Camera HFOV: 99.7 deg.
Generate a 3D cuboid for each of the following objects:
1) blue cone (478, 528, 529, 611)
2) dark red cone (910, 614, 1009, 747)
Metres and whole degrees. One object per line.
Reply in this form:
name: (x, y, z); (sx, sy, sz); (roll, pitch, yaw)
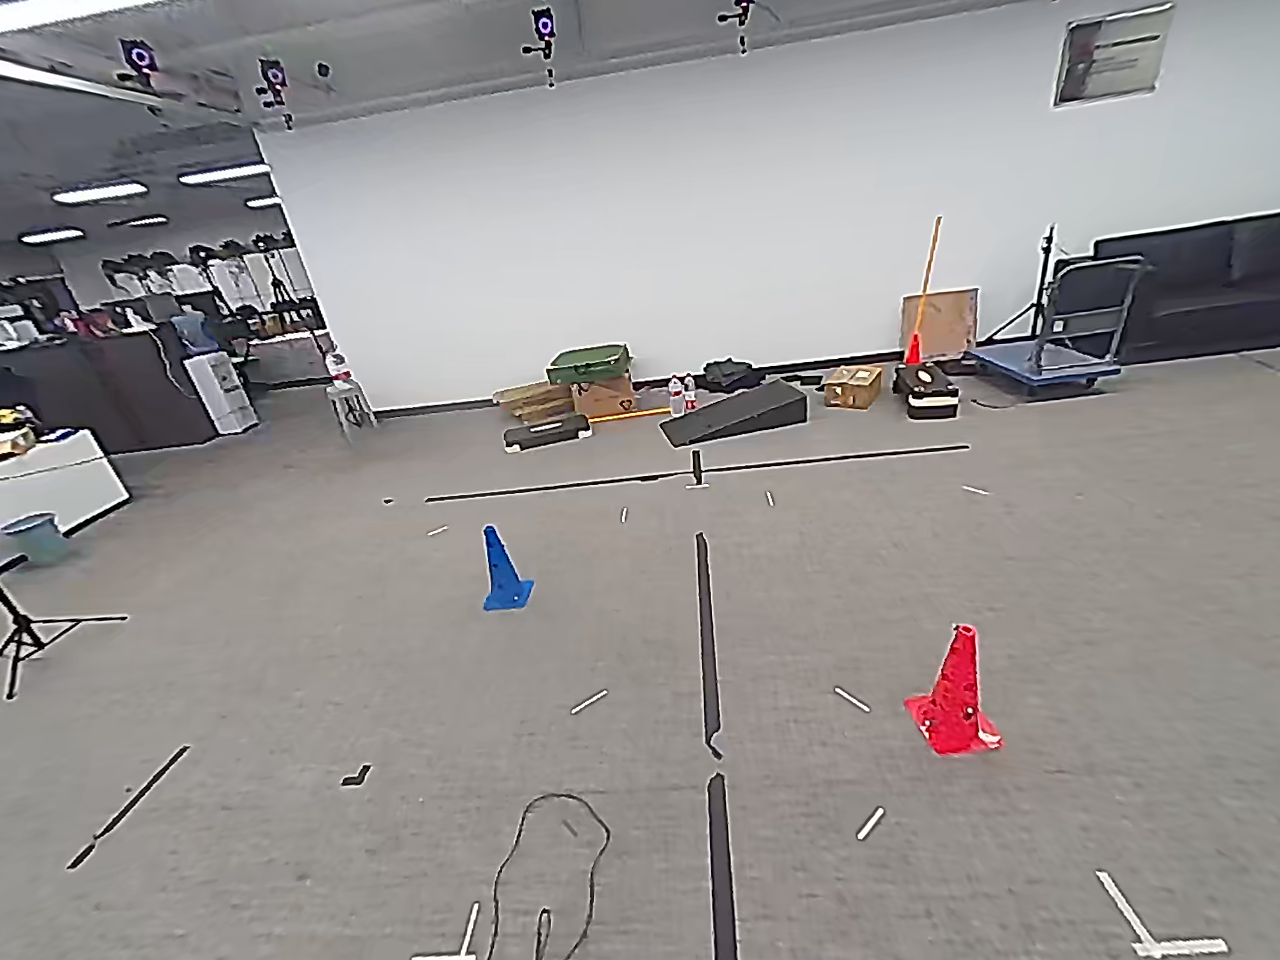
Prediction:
blue cone: (-0.629, 0.377, 2.365); (0.192, 0.380, 0.193); (-6, 25, 8)
dark red cone: (0.894, 0.533, 1.496); (0.201, 0.394, 0.202); (-10, 25, 0)
